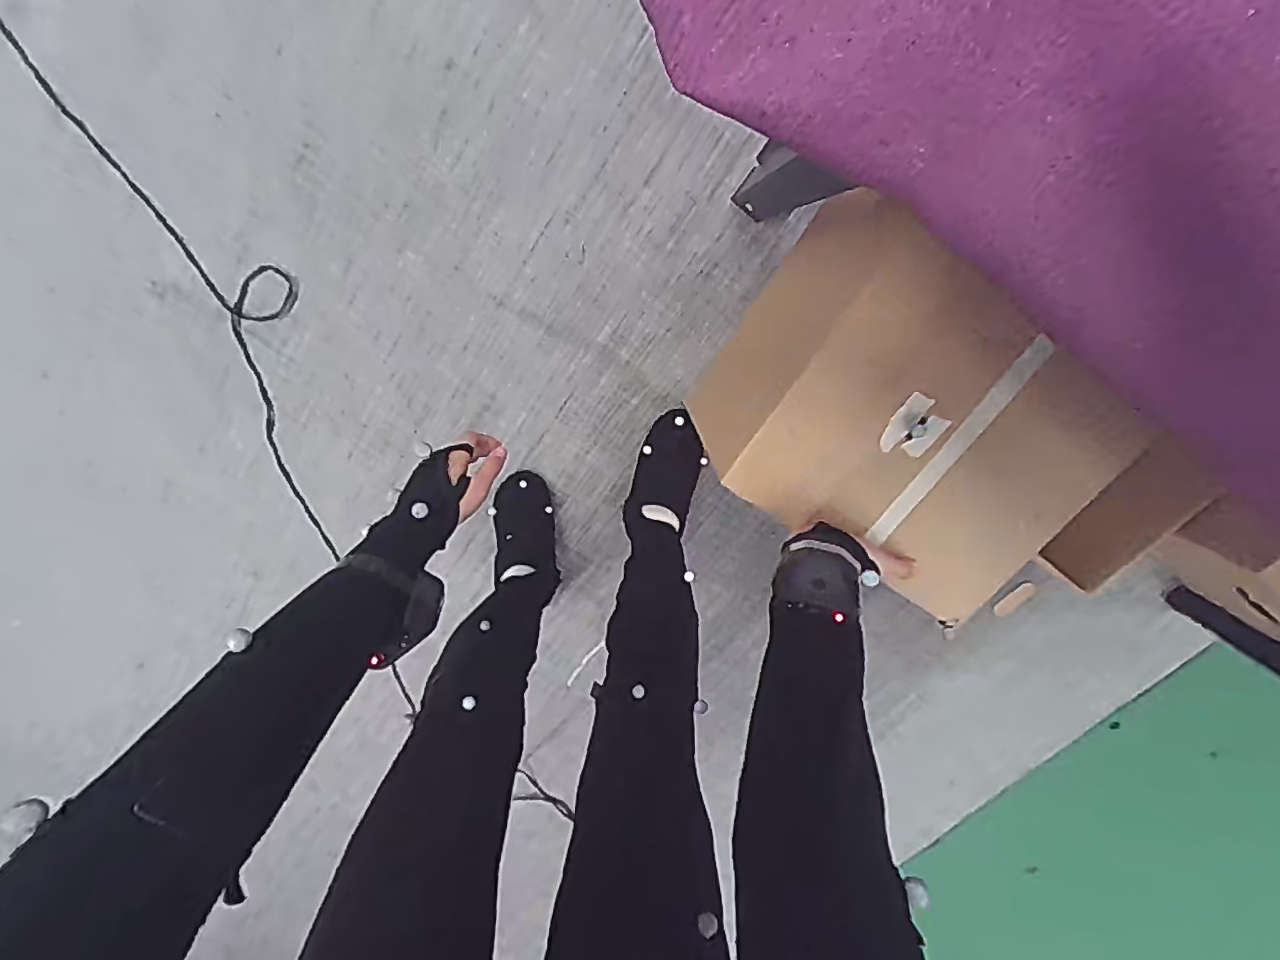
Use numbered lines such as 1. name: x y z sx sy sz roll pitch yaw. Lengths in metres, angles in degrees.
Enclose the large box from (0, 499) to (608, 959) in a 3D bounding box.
1. large box: -0.292 0.277 0.358 0.408 0.320 0.320 52 123 23
